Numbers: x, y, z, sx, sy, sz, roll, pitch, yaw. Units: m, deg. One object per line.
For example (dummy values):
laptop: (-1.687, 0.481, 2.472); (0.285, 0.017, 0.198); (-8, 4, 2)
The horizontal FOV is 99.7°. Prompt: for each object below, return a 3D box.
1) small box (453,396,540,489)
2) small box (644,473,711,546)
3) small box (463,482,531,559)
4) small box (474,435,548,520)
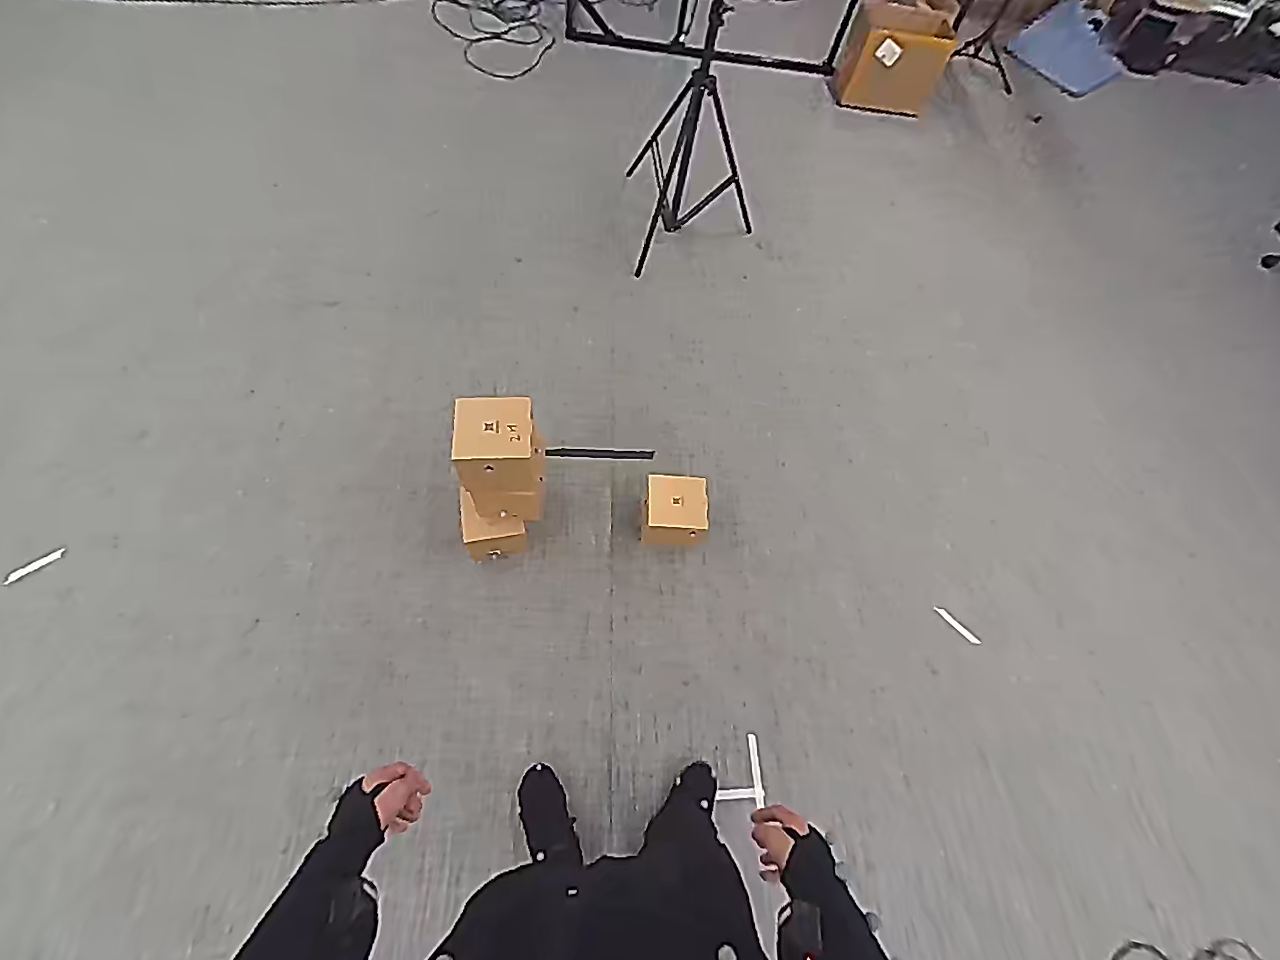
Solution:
small box: (-0.335, -0.085, 1.291); (0.179, 0.176, 0.168); (-1, 64, -7)
small box: (0.106, 0.093, 1.630); (0.179, 0.176, 0.168); (4, 64, -7)
small box: (-0.408, 0.110, 1.552); (0.168, 0.176, 0.179); (-8, 66, -10)
small box: (-0.337, -0.012, 1.439); (0.168, 0.176, 0.179); (5, 64, -4)
